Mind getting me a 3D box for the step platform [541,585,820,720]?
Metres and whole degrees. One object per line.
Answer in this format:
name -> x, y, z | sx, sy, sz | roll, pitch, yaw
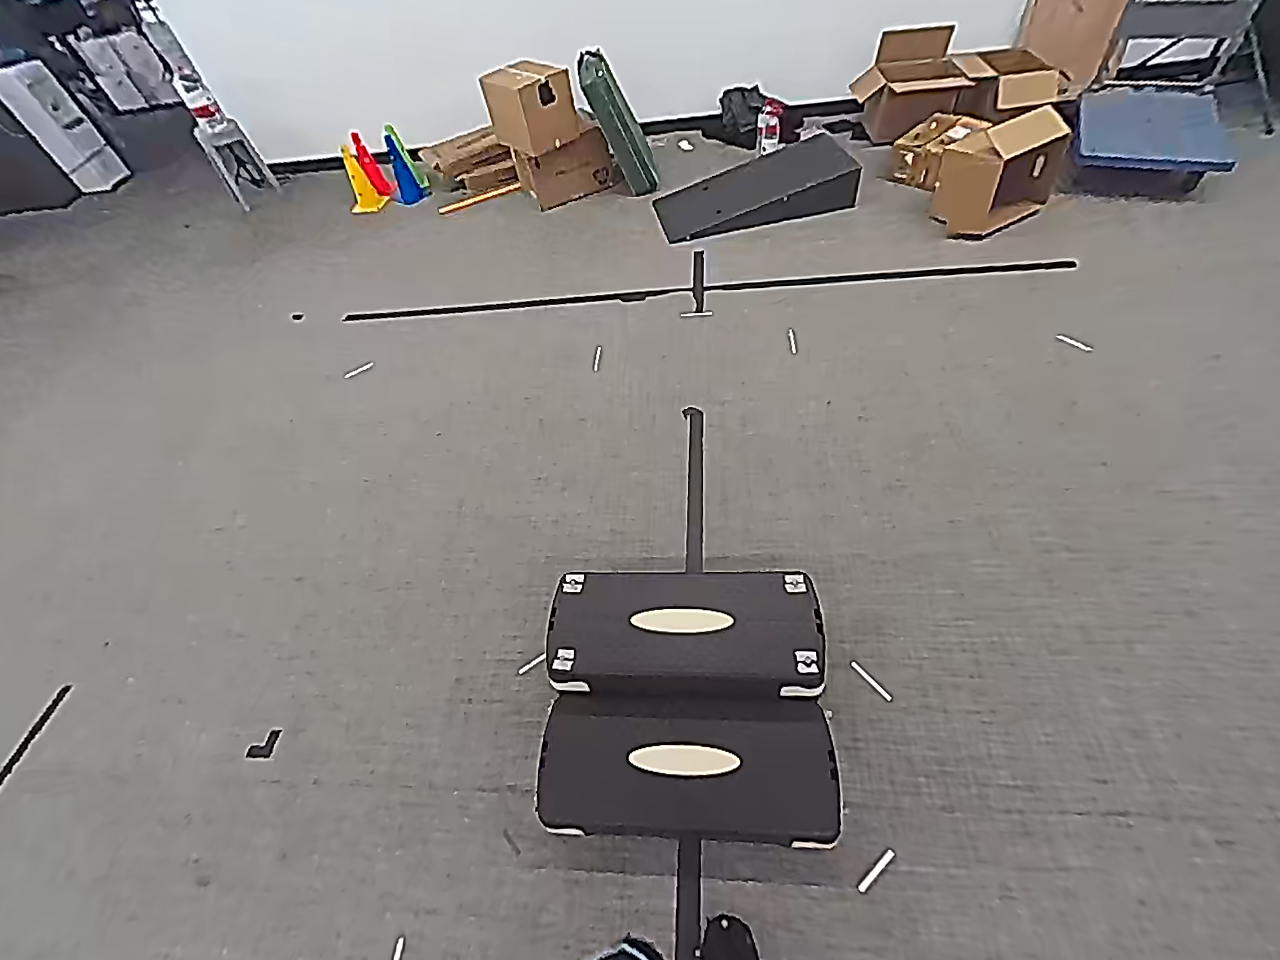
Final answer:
step platform -> 0.096, 0.430, 1.371 | 0.684, 0.204, 0.286 | -2, 52, 6
